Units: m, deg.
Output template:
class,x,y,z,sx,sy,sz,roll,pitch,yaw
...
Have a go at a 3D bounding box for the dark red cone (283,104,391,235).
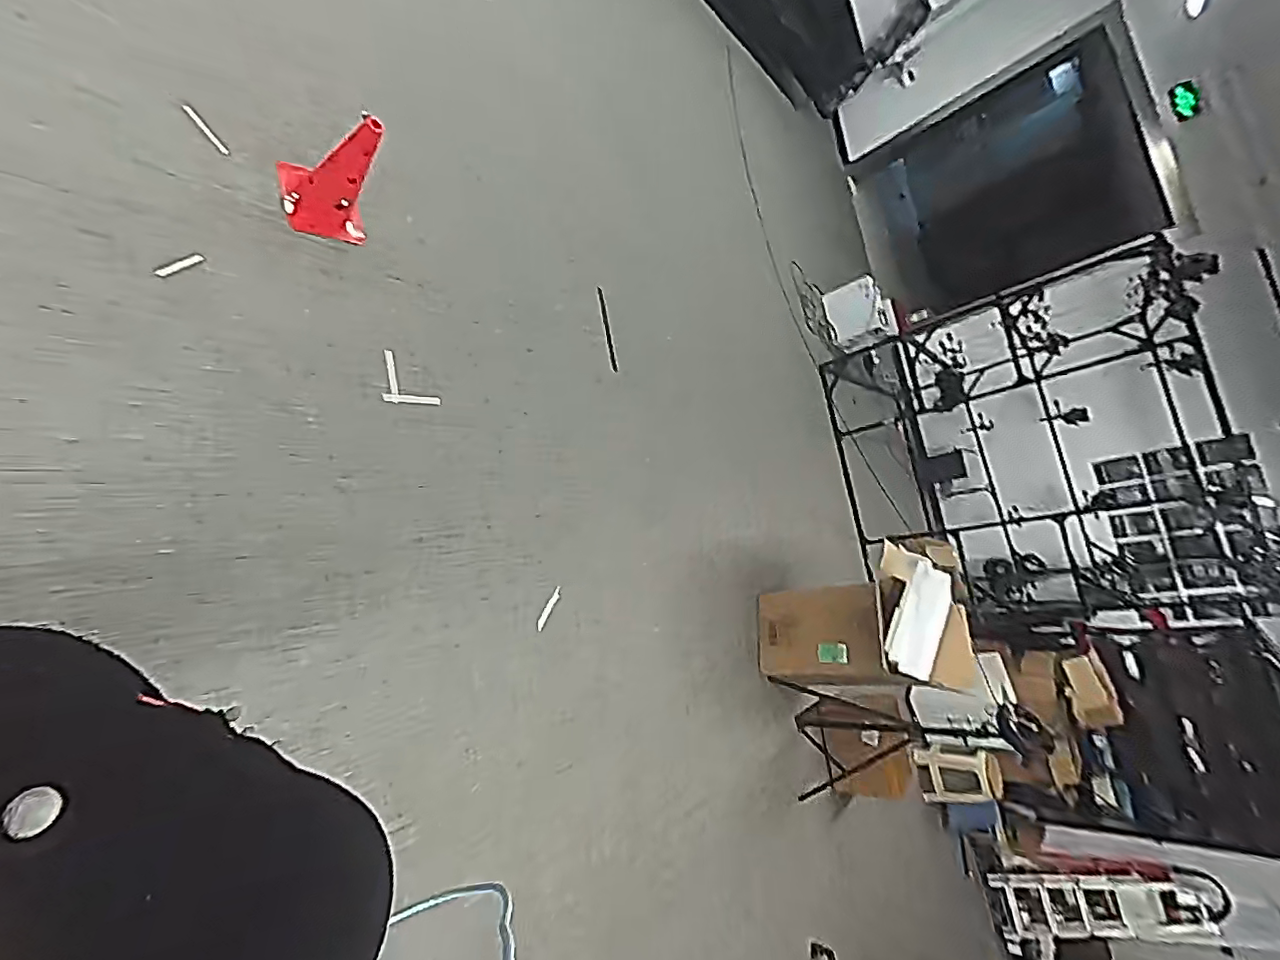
class,x,y,z,sx,sy,sz,roll,pitch,yaw
dark red cone,-0.738,-0.817,1.381,0.201,0.394,0.202,-11,86,-50
